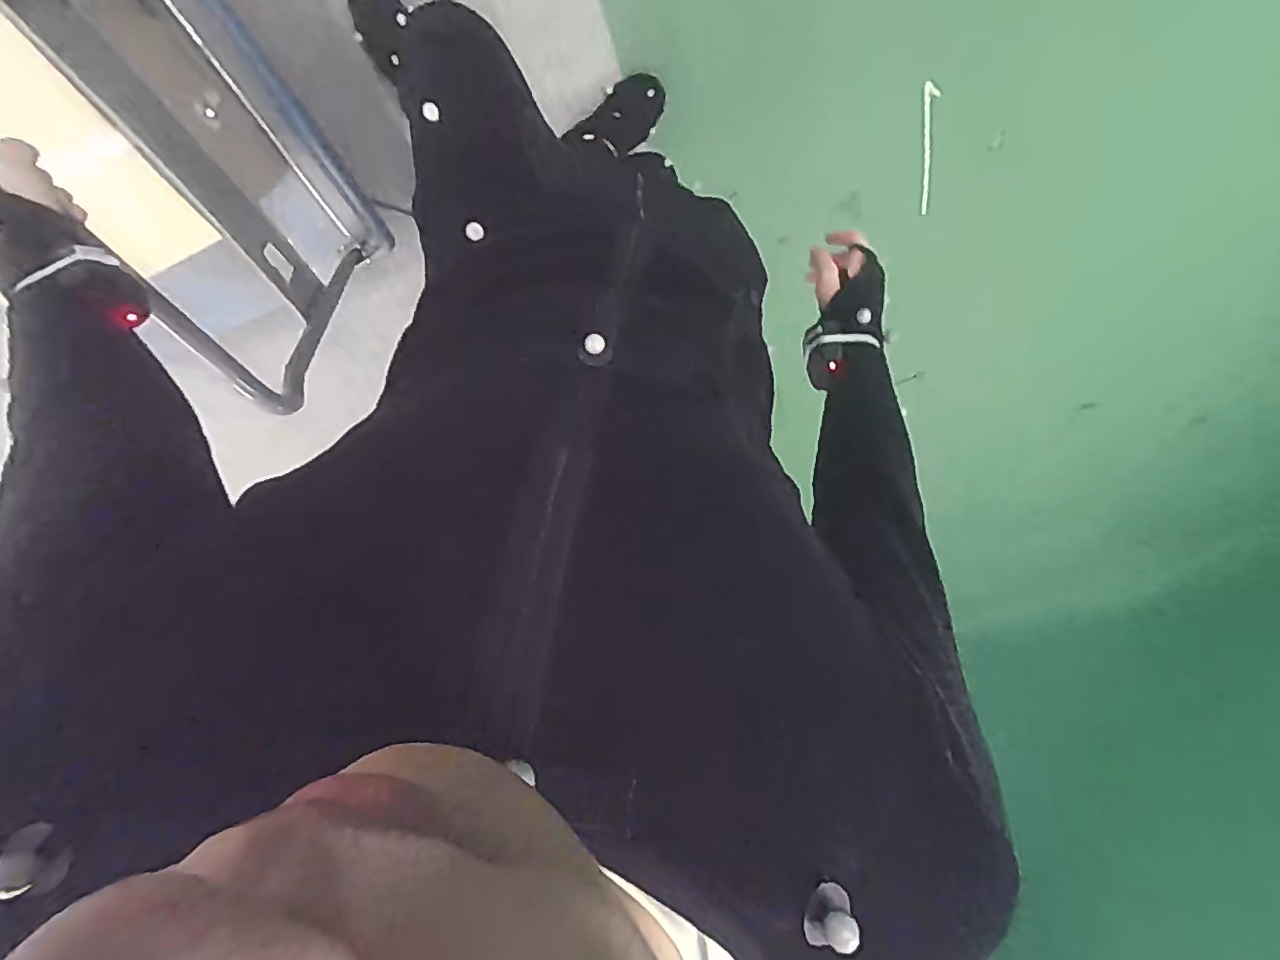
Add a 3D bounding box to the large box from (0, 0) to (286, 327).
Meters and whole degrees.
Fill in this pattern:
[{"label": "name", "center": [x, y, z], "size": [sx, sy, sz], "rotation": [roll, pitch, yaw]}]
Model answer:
[{"label": "large box", "center": [-0.912, -0.534, 0.903], "size": [0.408, 0.320, 0.320], "rotation": [-20, 135, 10]}]
